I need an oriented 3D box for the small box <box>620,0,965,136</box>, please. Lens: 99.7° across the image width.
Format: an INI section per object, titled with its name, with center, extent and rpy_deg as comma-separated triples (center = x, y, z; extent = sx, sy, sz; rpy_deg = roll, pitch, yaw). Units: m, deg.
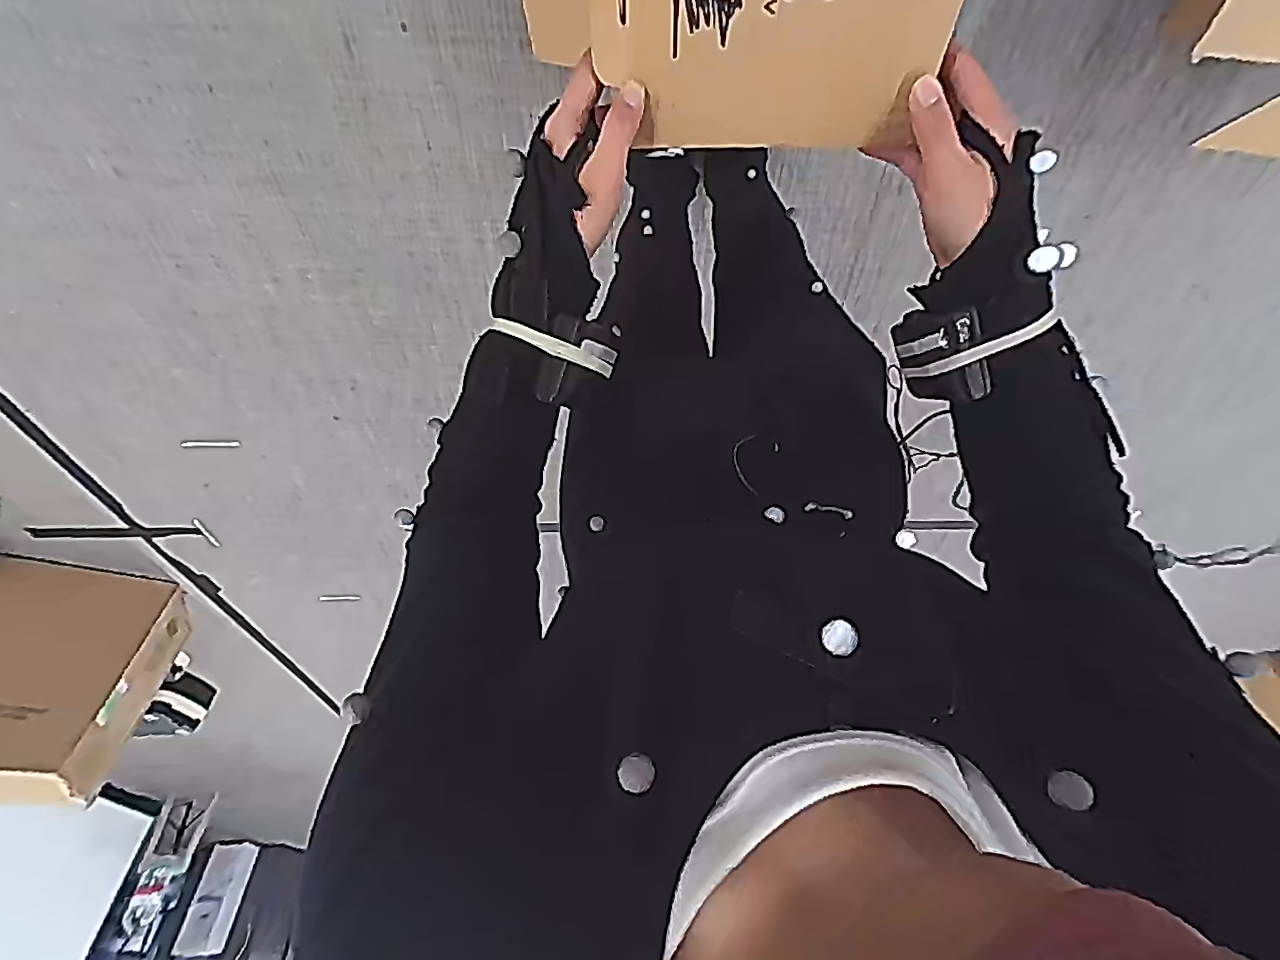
[small box]
center = 0.079, -0.319, 0.306
extent = 0.179, 0.176, 0.168
rpy_deg = 0, 143, 1
